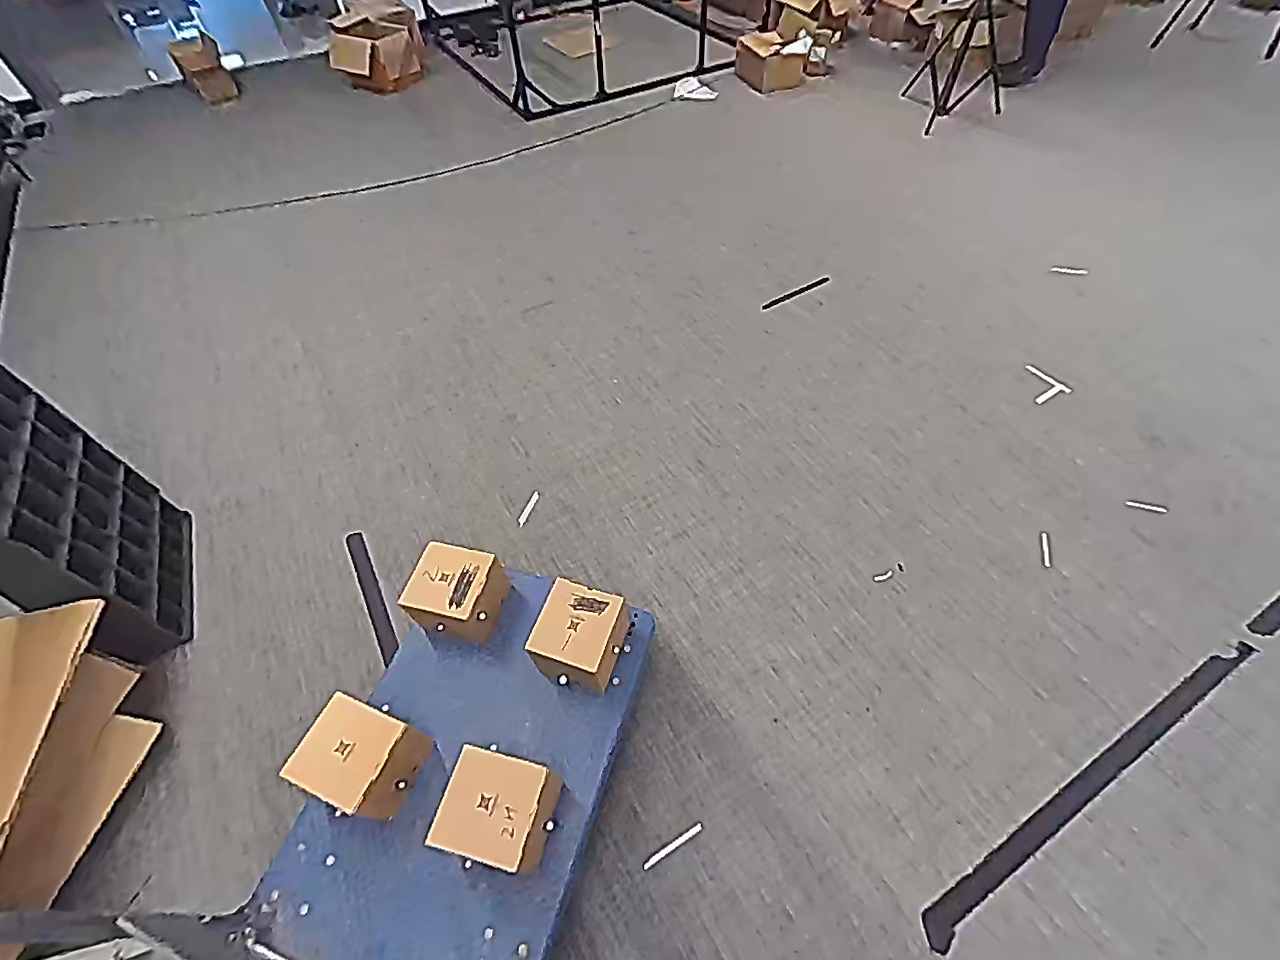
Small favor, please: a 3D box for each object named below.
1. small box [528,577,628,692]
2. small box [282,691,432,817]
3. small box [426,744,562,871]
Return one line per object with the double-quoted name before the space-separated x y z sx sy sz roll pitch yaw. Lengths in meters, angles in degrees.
"small box" -0.131 0.353 1.226 0.168 0.176 0.179 15 57 13
"small box" -0.560 0.560 1.097 0.179 0.176 0.168 18 56 13
"small box" -0.266 0.628 1.032 0.179 0.176 0.168 11 55 10
